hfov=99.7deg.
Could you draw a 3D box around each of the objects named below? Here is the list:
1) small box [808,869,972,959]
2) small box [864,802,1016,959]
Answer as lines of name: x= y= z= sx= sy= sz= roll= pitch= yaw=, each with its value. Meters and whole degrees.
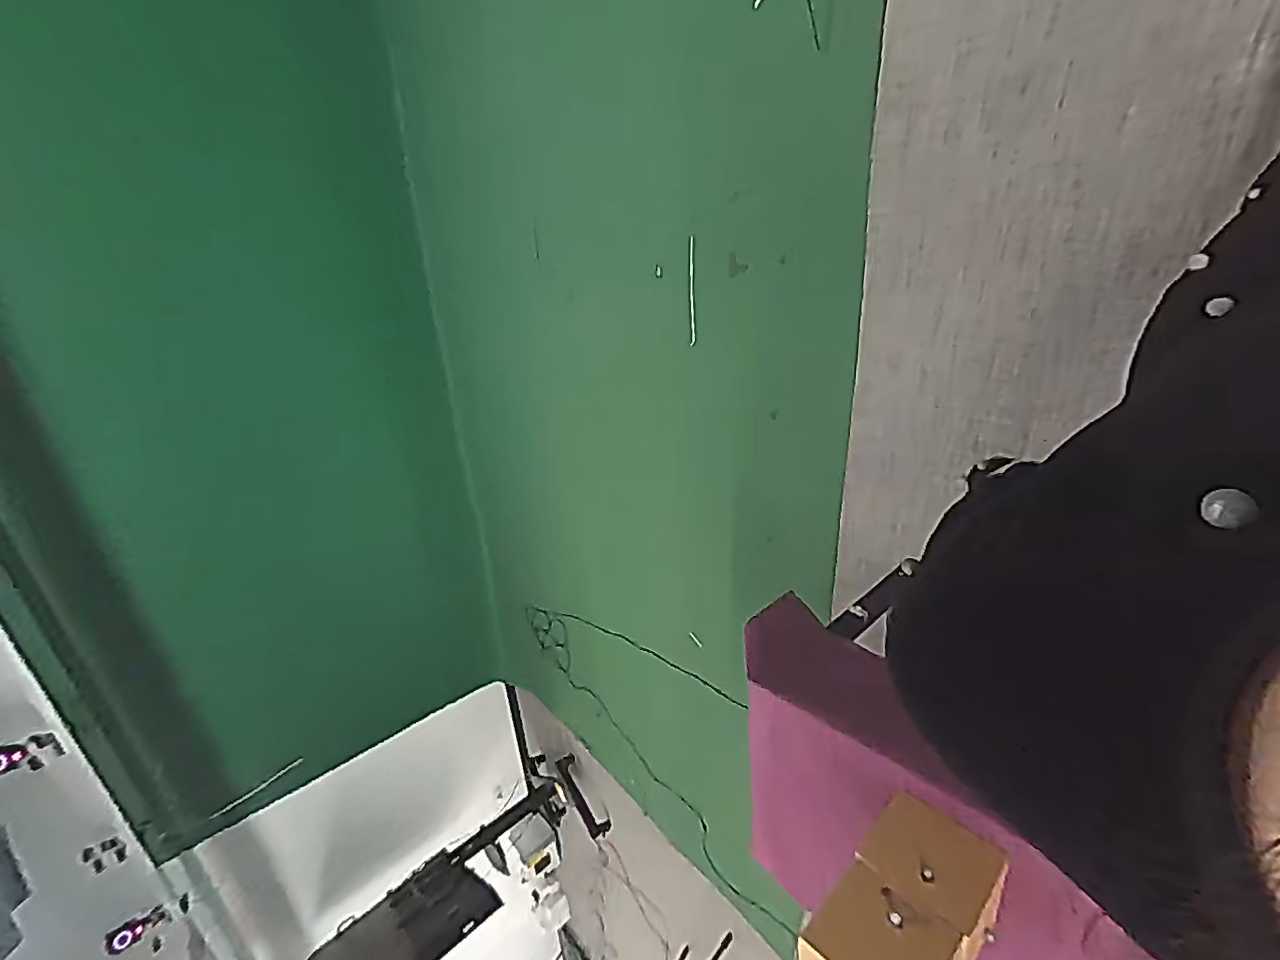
small box: x=0.367 y=0.743 z=0.799 sx=0.168 sy=0.176 sz=0.179 roll=15 pitch=118 yaw=47
small box: x=0.490 y=0.686 z=0.894 sx=0.179 sy=0.176 sz=0.168 roll=19 pitch=121 yaw=46
